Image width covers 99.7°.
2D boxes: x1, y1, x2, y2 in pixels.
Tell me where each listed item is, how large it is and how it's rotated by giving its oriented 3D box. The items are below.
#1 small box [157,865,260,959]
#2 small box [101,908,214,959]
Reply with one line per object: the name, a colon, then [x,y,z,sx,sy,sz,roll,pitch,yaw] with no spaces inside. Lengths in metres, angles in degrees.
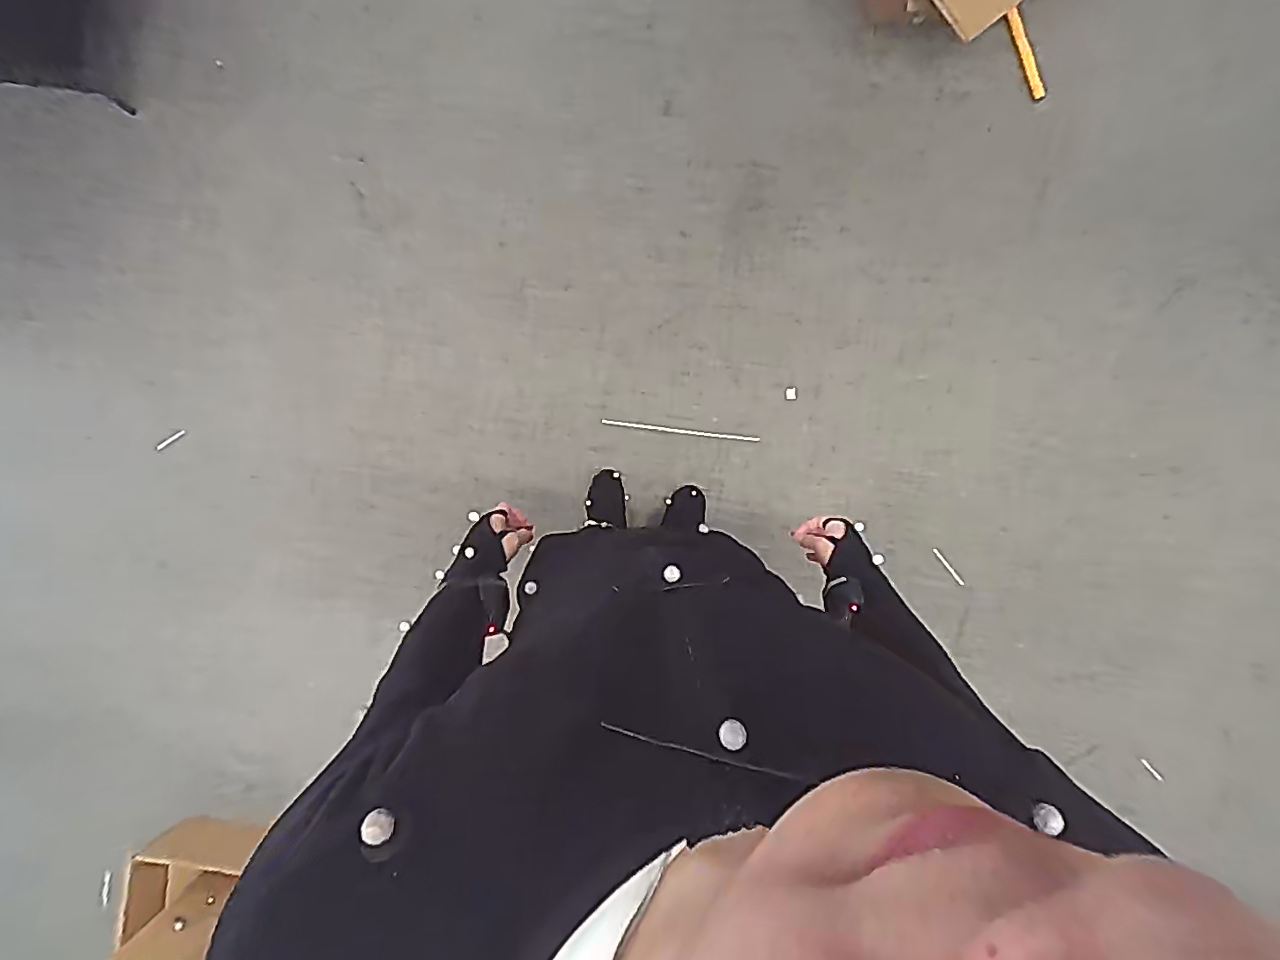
small box: [-1.224,1.237,1.530,0.179,0.176,0.168,11,91,0]
small box: [-1.224,1.242,1.366,0.168,0.176,0.179,7,91,-1]
